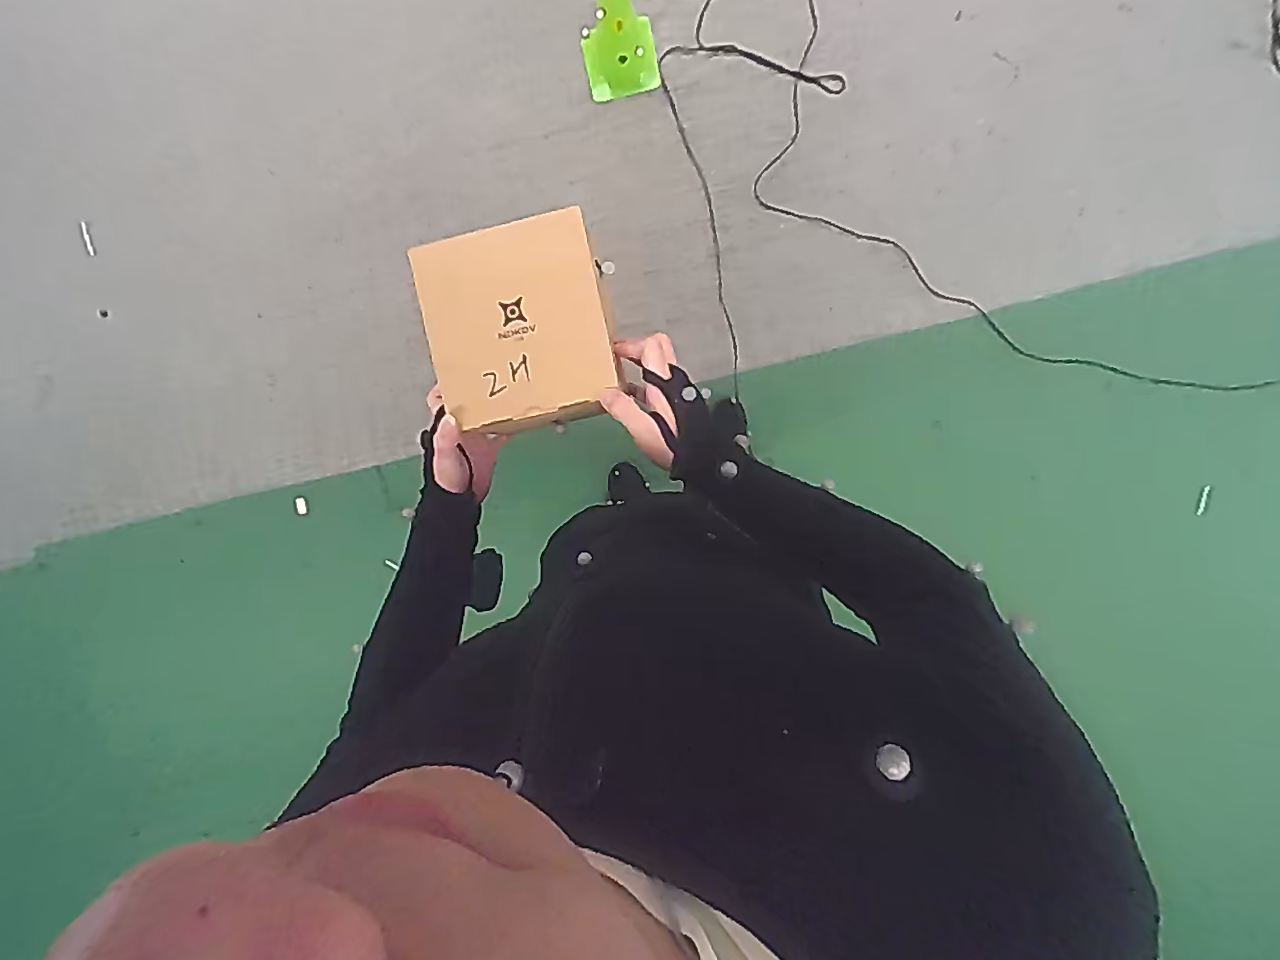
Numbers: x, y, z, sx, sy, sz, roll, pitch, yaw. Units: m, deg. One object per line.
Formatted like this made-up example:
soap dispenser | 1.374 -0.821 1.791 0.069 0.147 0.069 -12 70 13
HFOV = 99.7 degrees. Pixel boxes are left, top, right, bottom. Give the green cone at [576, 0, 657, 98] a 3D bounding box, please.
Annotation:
green cone | -0.070 -1.171 1.340 0.202 0.368 0.200 -13 94 2
